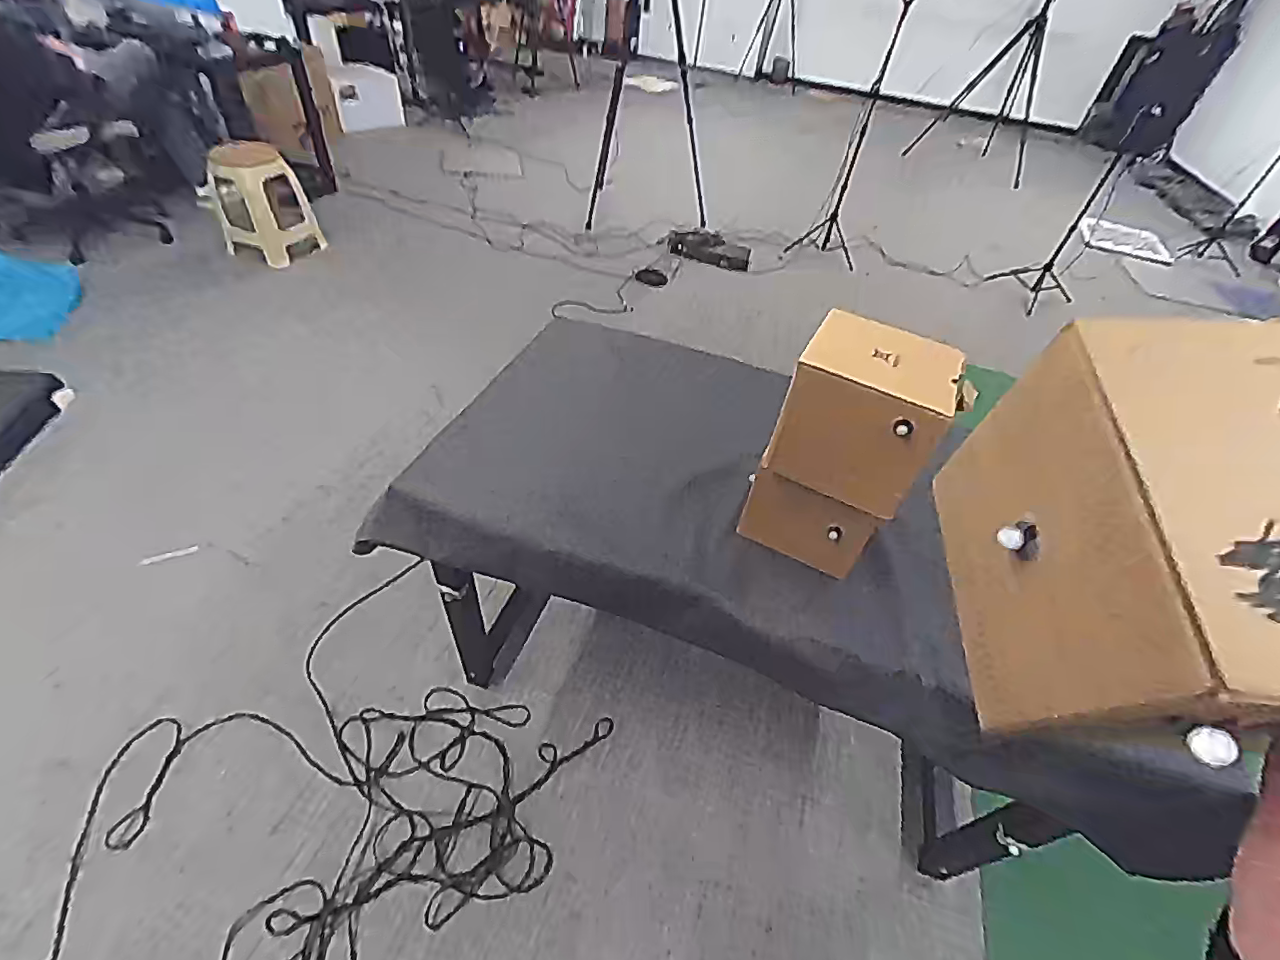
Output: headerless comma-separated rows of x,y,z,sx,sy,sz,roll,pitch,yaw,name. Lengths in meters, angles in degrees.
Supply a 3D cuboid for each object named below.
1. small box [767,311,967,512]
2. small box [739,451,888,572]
0.283,-0.087,0.697,0.179,0.176,0.168,25,46,15,small box
0.273,0.014,0.826,0.179,0.176,0.168,23,46,15,small box
